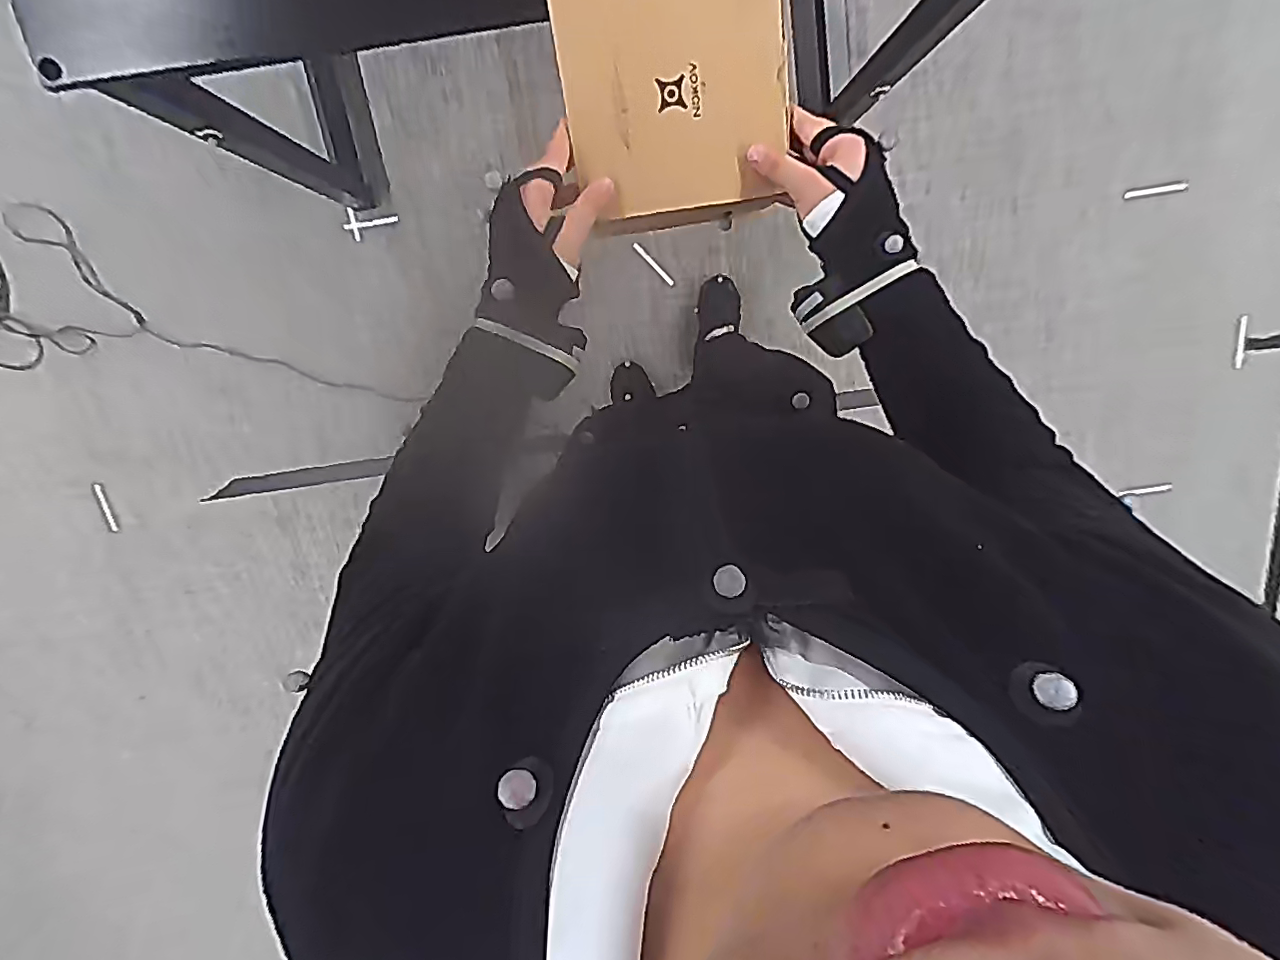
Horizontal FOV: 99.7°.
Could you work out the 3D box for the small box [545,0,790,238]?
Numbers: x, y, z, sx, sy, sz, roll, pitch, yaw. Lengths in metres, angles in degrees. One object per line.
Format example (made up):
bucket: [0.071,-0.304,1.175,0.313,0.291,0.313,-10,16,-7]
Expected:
small box: [0.024,-0.327,0.491,0.179,0.176,0.168,-9,109,3]
